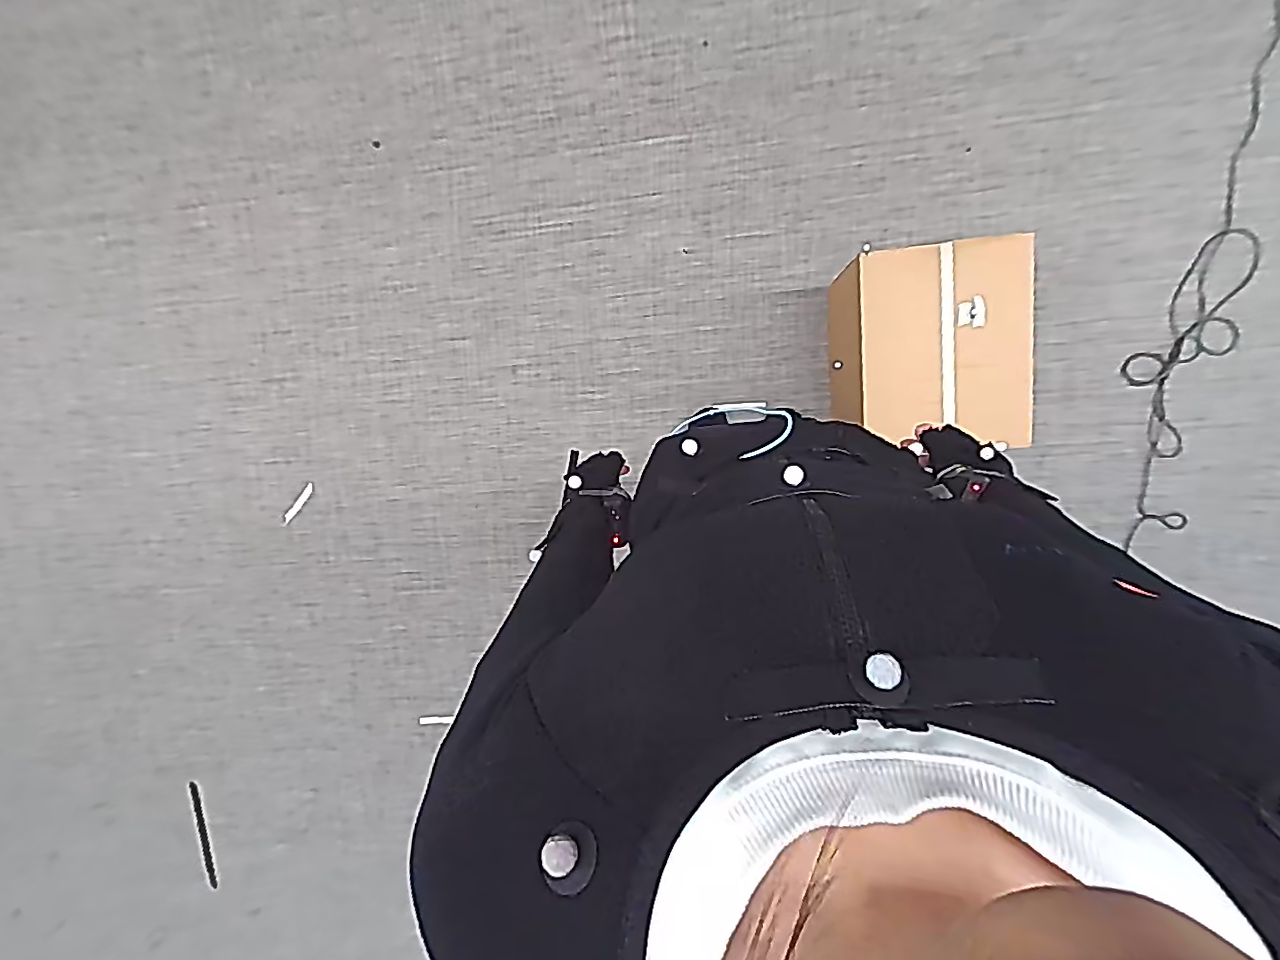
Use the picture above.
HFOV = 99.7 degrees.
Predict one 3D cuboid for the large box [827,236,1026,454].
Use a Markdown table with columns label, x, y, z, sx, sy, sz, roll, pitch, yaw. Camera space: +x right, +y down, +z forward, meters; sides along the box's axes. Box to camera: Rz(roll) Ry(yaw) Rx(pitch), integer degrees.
| label | x | y | z | sx | sy | sz | roll | pitch | yaw |
| --- | --- | --- | --- | --- | --- | --- | --- | --- | --- |
| large box | 0.616 | -0.276 | 1.218 | 0.320 | 0.320 | 0.408 | -4 | 96 | 7 |
